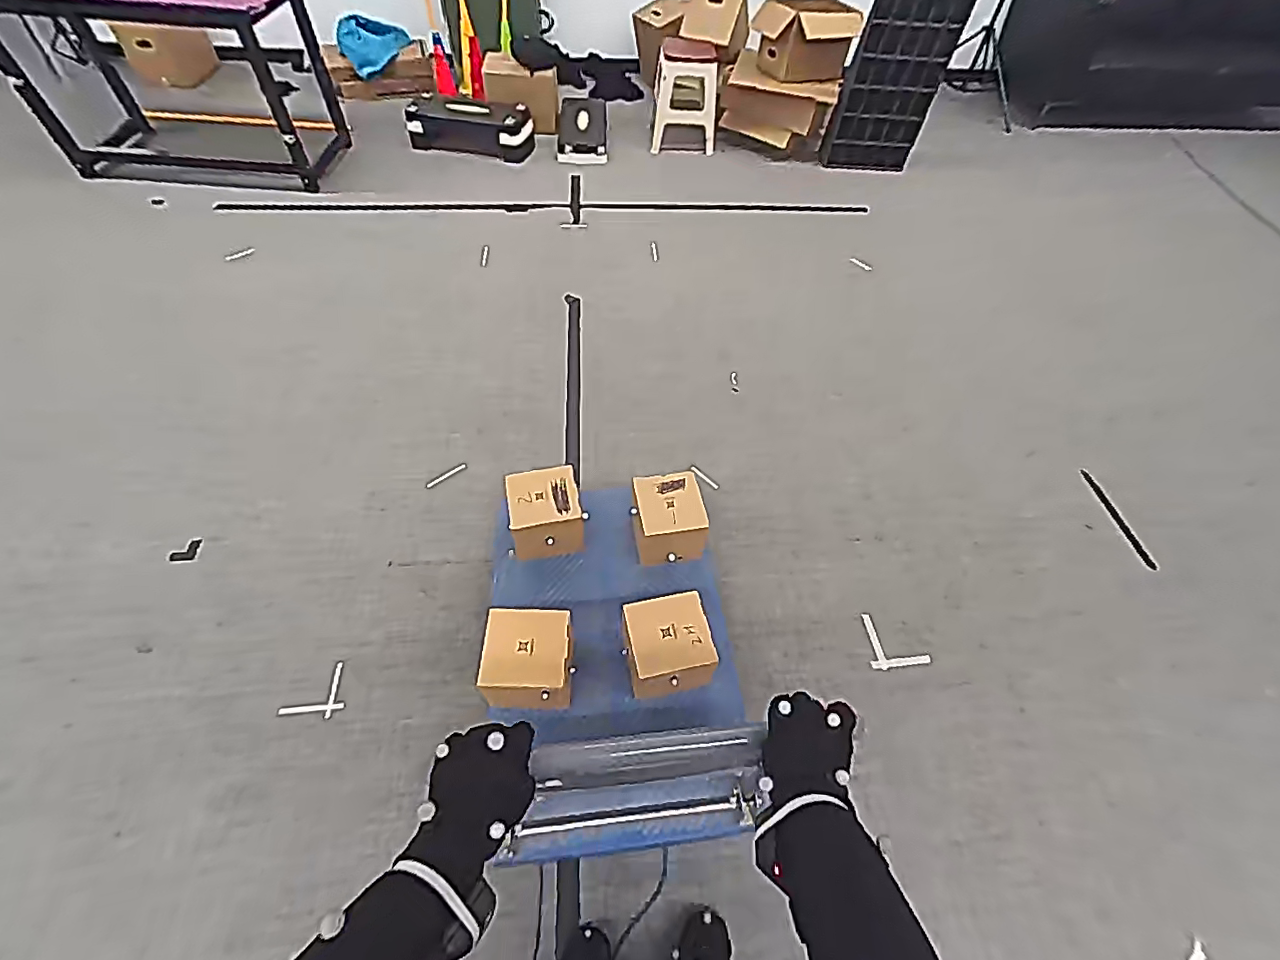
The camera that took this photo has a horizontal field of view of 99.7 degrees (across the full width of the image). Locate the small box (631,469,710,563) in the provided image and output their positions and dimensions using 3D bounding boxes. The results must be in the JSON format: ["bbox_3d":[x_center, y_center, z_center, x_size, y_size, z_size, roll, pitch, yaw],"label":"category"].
[{"bbox_3d":[0.072,0.096,1.417,0.168,0.176,0.179,-7,56,-8],"label":"small box"}]

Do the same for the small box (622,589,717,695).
[{"bbox_3d":[0.059,0.369,1.219,0.179,0.176,0.168,-9,55,-9],"label":"small box"}]

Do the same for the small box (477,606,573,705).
[{"bbox_3d":[-0.243,0.389,1.187,0.179,0.176,0.168,2,53,-4],"label":"small box"}]
